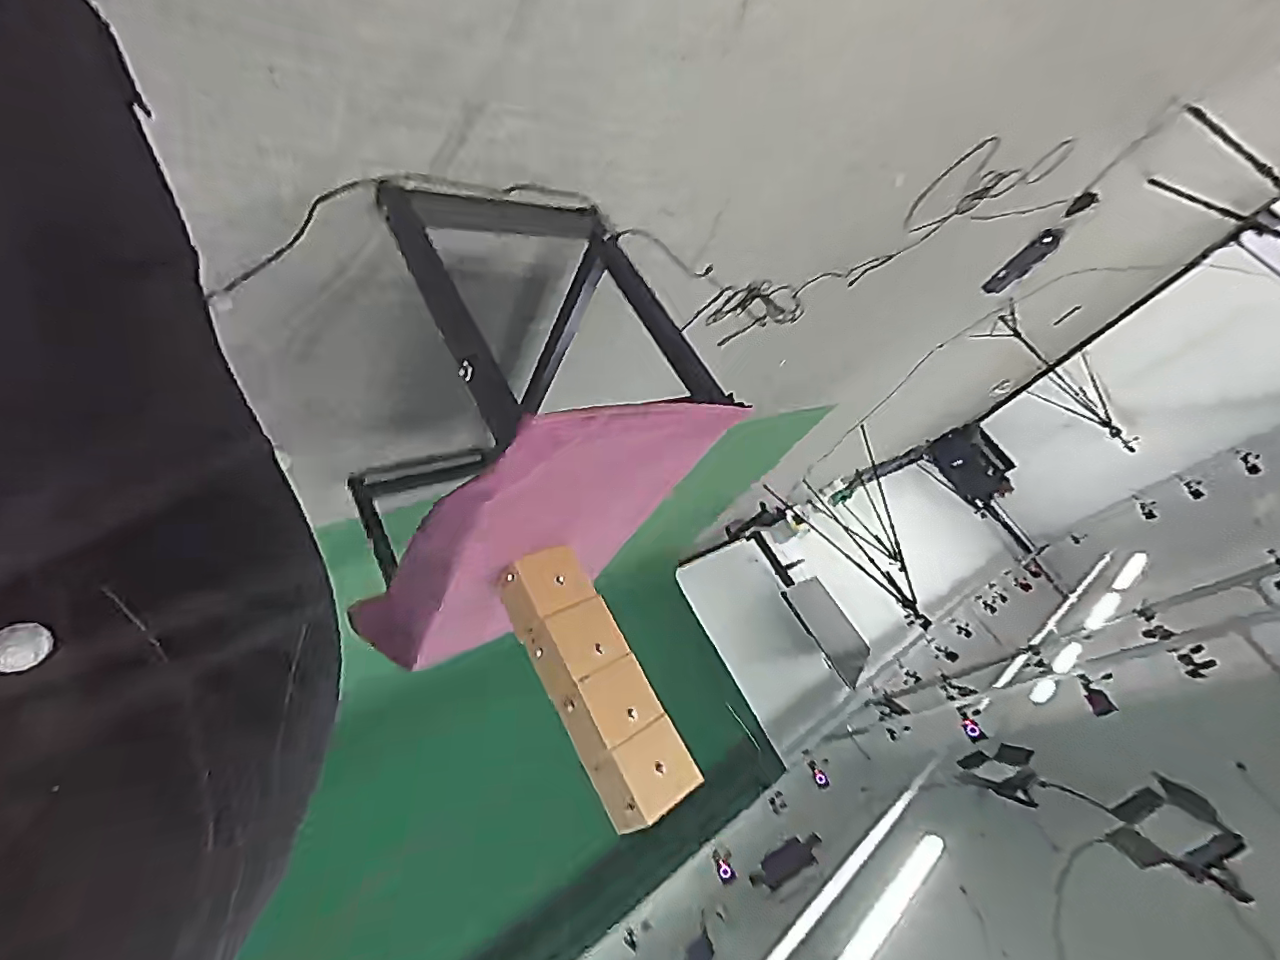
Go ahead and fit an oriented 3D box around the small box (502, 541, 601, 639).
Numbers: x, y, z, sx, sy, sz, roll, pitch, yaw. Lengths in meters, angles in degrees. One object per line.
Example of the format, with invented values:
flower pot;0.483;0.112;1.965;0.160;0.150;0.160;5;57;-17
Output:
small box;-0.239;0.285;1.422;0.179;0.176;0.168;-15;155;-39

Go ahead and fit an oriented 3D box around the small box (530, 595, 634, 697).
small box;-0.151;0.414;1.371;0.179;0.176;0.168;-14;154;-38

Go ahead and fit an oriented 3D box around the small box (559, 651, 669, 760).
small box;-0.068;0.545;1.320;0.179;0.176;0.168;-15;154;-38
